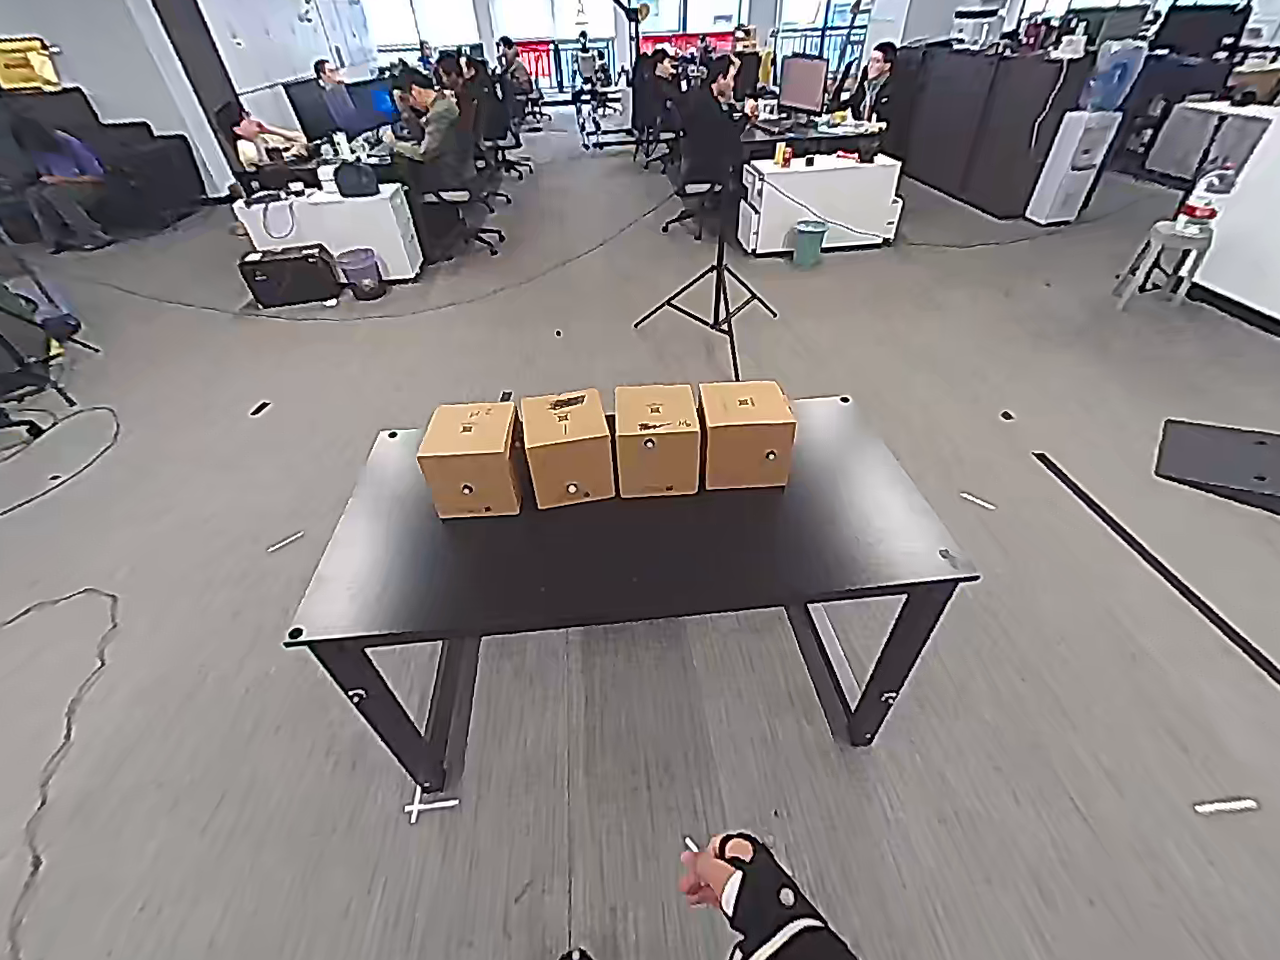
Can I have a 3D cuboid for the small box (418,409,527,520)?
[{"bbox_3d":[-0.339,-0.028,1.133,0.168,0.176,0.179,-3,40,-1],"label":"small box"}]
